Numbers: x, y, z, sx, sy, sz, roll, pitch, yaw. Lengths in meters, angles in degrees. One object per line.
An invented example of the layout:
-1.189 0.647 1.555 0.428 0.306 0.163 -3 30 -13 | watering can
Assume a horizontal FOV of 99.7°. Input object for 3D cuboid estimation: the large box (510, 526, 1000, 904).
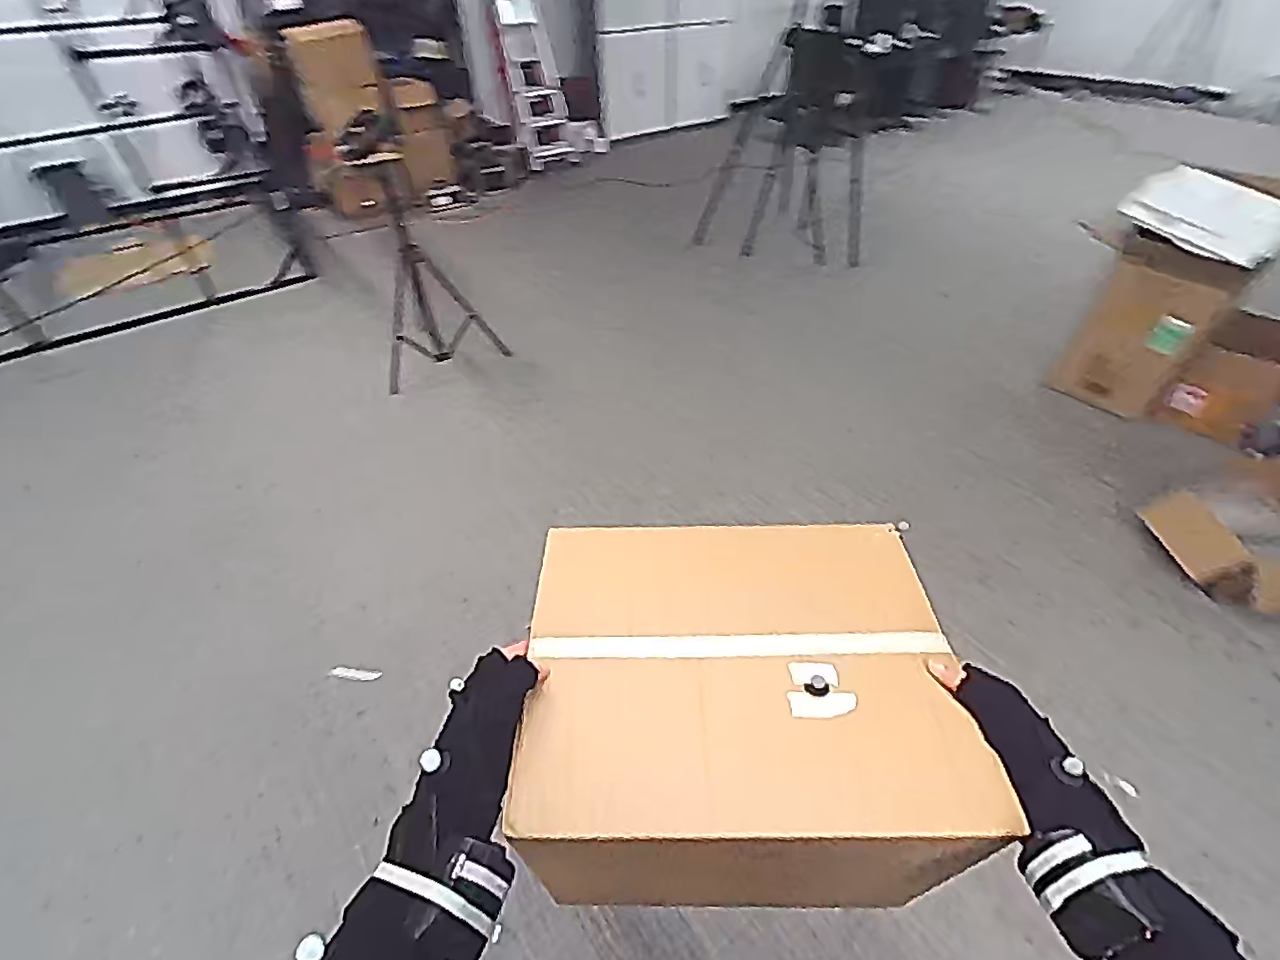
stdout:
0.091 0.274 0.639 0.408 0.320 0.320 -1 44 0 | large box
